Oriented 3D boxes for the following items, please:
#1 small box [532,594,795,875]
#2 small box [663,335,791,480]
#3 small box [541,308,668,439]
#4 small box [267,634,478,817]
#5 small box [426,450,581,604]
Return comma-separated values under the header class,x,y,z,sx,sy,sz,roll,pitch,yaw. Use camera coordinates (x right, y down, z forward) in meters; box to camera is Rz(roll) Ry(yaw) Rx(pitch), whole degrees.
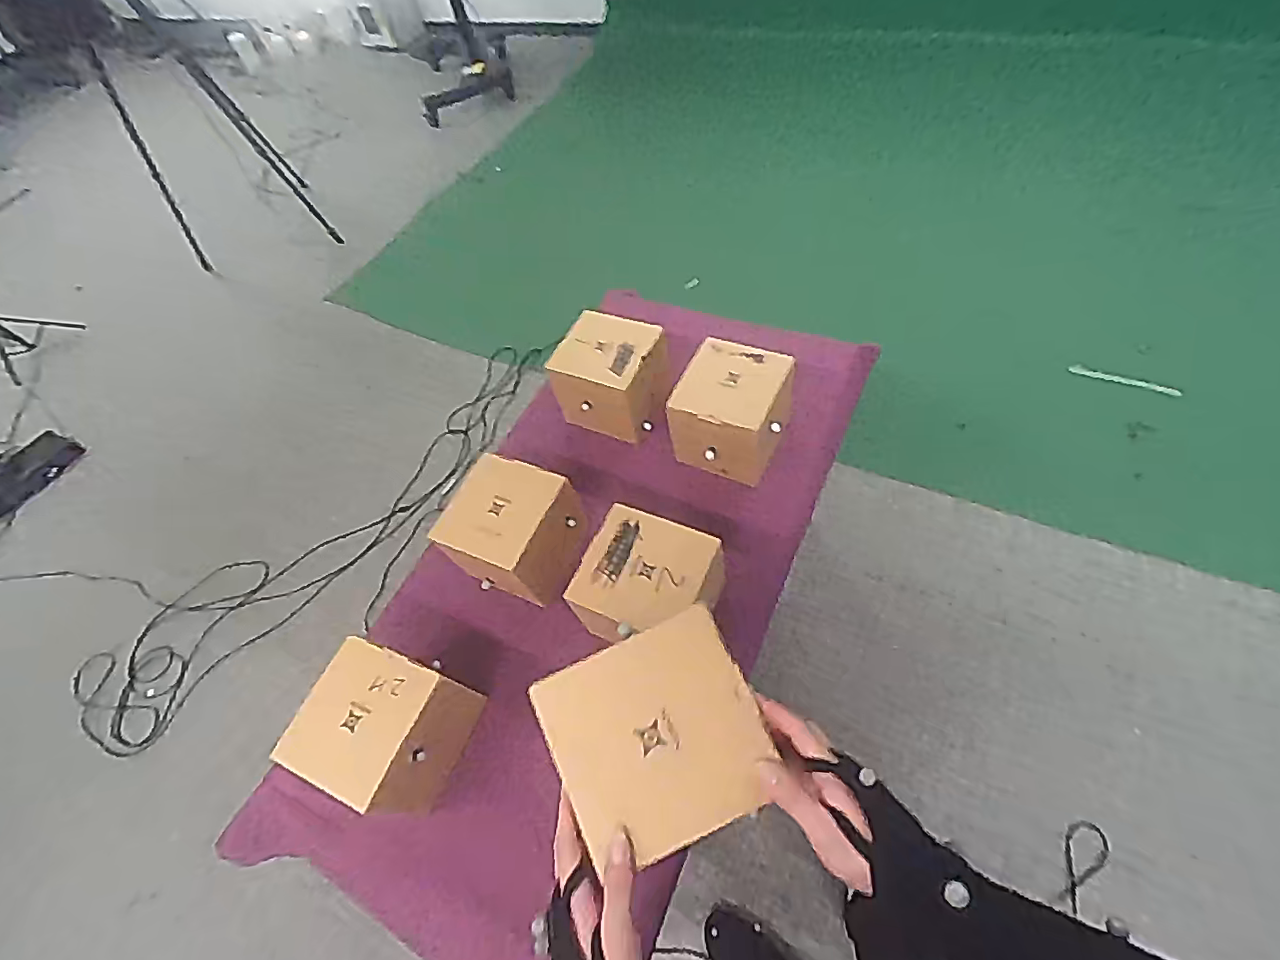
class,x,y,z,sx,sy,sz,roll,pitch,yaw
small box,0.023,0.228,0.522,0.179,0.176,0.168,-25,72,-2
small box,0.162,-0.126,0.971,0.168,0.176,0.179,20,65,22
small box,-0.058,-0.204,1.064,0.179,0.176,0.168,19,63,22
small box,-0.361,0.350,0.769,0.168,0.176,0.179,16,63,19
small box,-0.215,0.083,0.914,0.168,0.176,0.179,17,63,21
